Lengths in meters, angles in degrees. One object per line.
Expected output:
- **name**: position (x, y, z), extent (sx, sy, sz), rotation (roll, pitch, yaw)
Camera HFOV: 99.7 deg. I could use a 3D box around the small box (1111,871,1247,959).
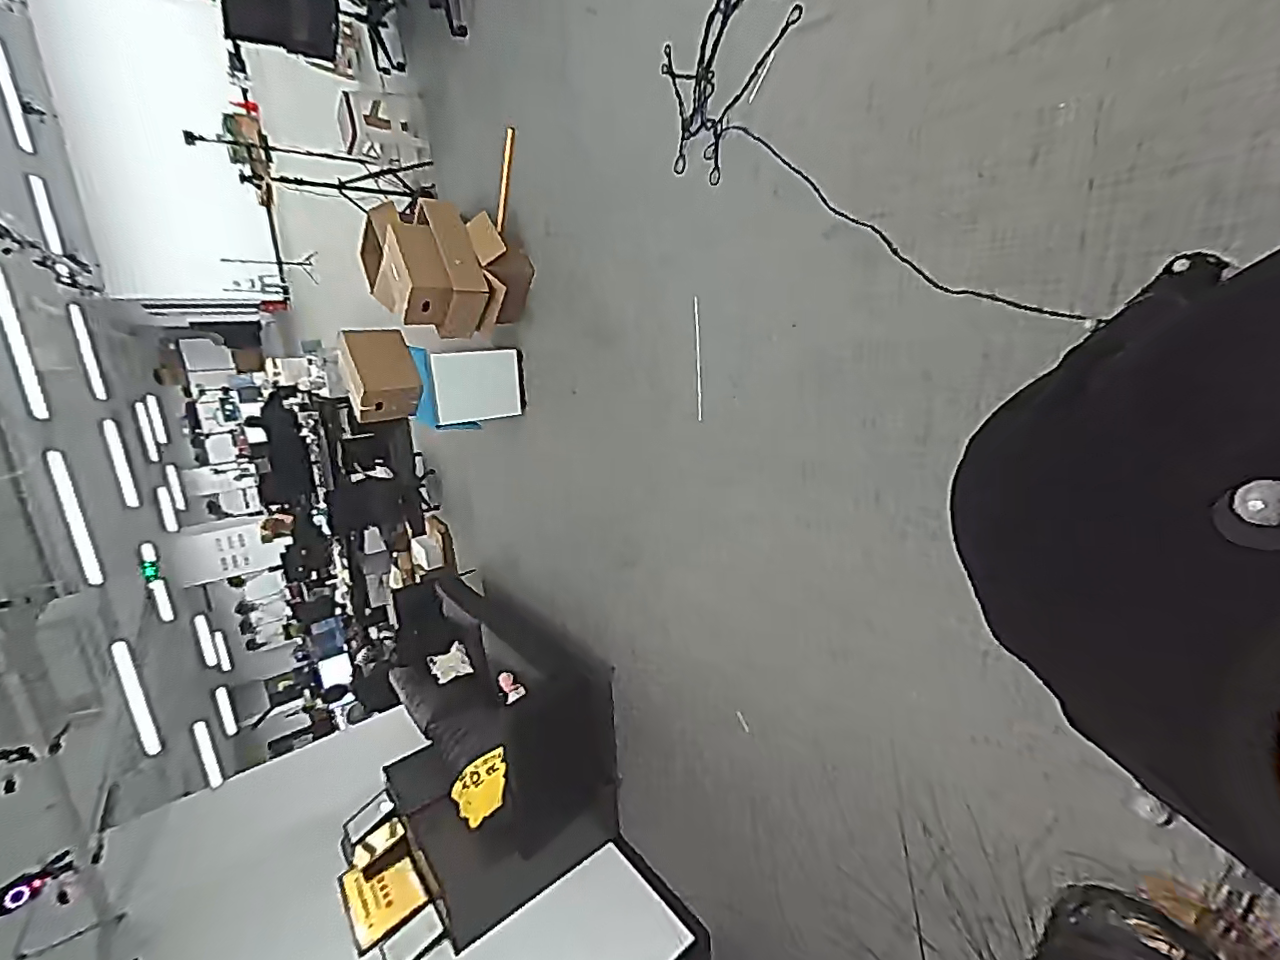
- **small box**: position (1.212, 1.043, 1.216), extent (0.179, 0.176, 0.168), rotation (21, 117, 48)
